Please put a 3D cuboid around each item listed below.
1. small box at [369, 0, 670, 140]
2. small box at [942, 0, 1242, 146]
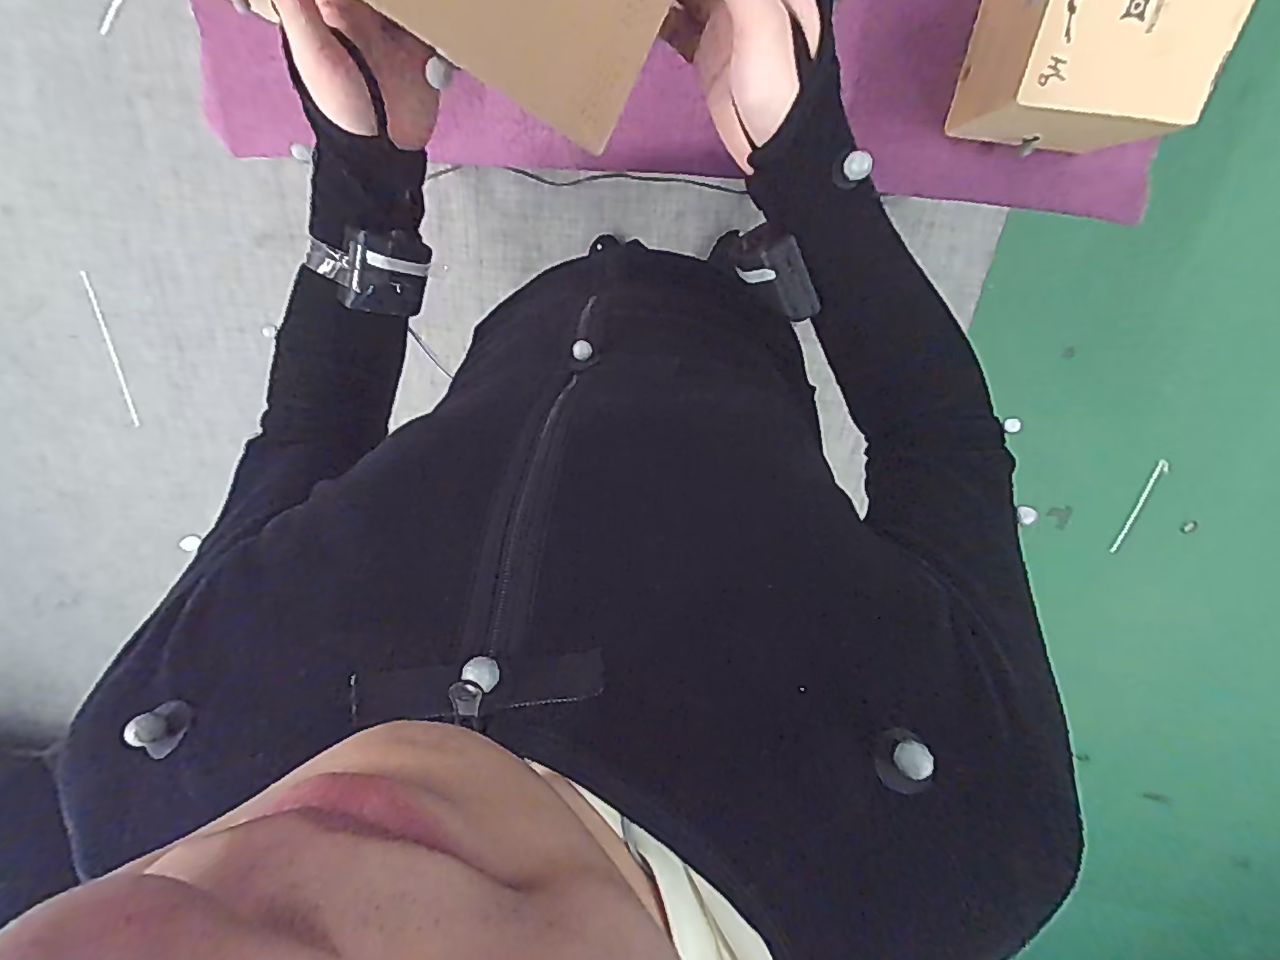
[{"bbox_3d":[-0.074,-0.301,0.243,0.168,0.176,0.179,39,115,16],"label":"small box"},{"bbox_3d":[0.462,-0.464,0.567,0.179,0.176,0.168,8,114,1],"label":"small box"}]
